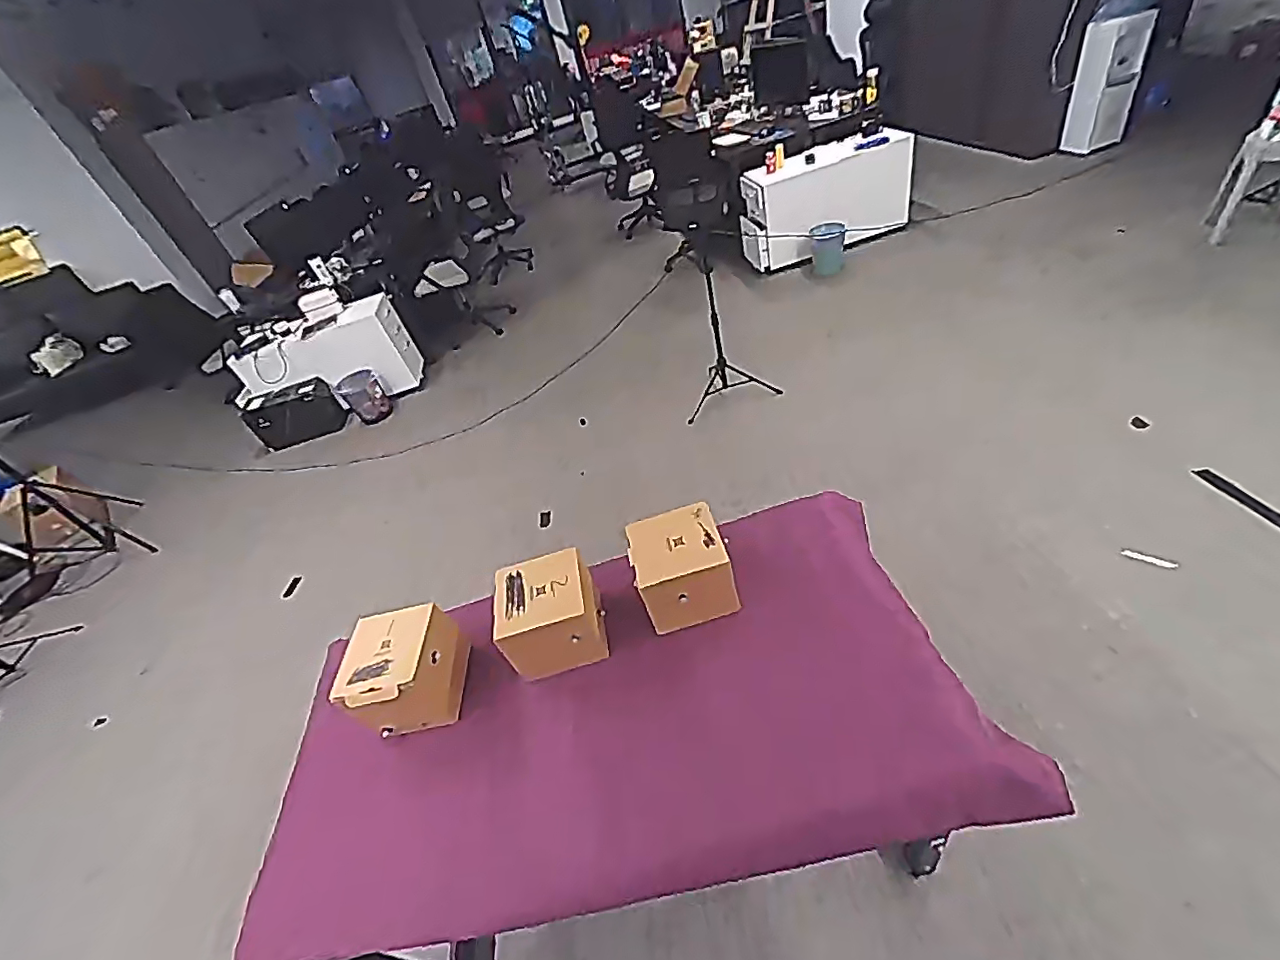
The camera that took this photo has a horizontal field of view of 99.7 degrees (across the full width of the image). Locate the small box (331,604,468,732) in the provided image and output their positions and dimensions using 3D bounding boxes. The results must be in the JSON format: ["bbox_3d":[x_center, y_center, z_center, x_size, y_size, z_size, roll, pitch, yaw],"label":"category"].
[{"bbox_3d":[-0.459,0.377,1.066,0.168,0.176,0.179,-13,41,5],"label":"small box"}]
